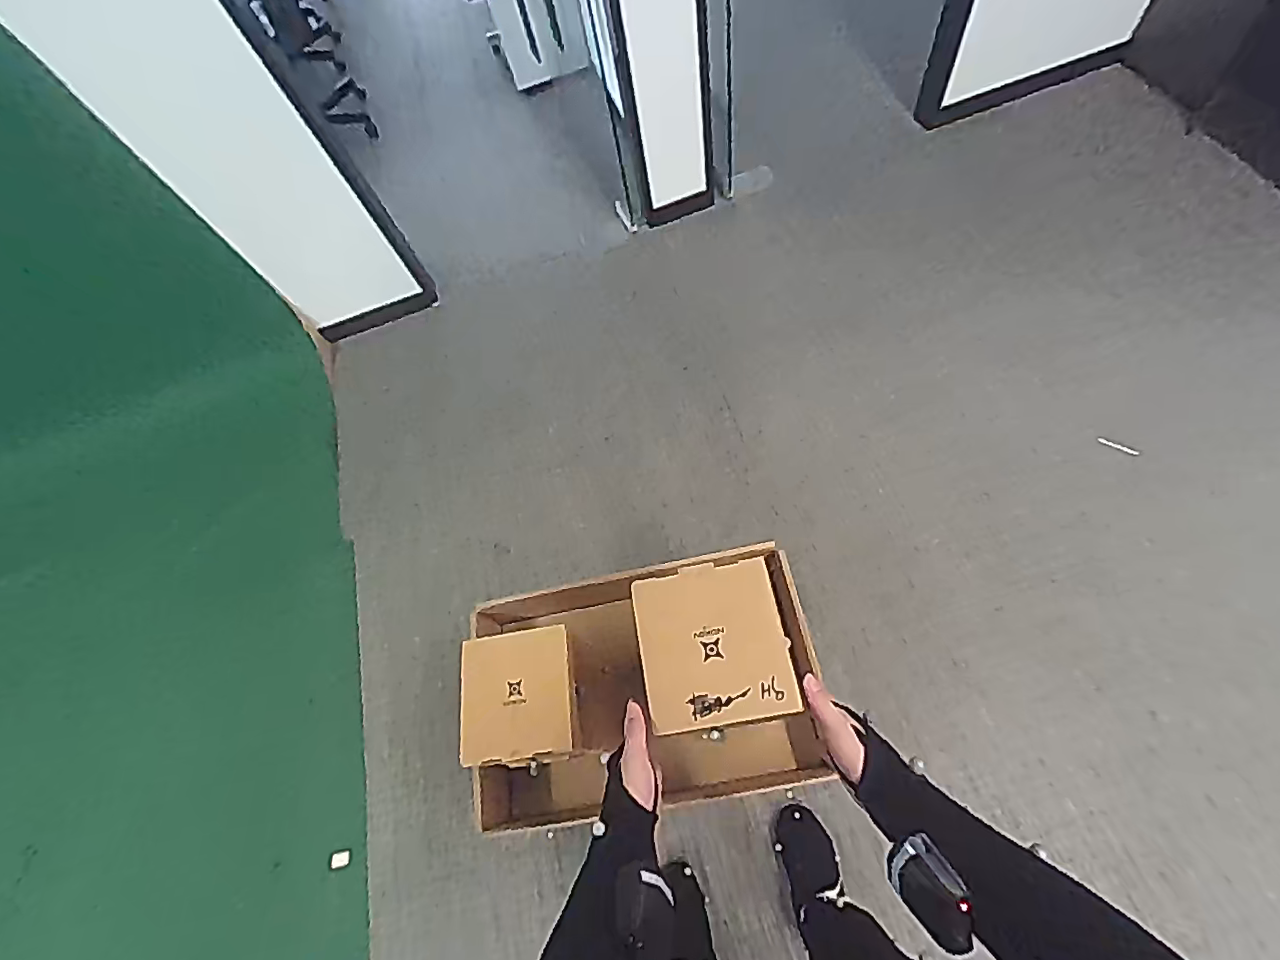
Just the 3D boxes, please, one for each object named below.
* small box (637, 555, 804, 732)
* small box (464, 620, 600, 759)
[{"bbox_3d":[0.098,0.214,0.686,0.168,0.176,0.179,-12,63,6],"label":"small box"},{"bbox_3d":[-0.165,0.337,0.860,0.168,0.176,0.179,-11,64,5],"label":"small box"}]
